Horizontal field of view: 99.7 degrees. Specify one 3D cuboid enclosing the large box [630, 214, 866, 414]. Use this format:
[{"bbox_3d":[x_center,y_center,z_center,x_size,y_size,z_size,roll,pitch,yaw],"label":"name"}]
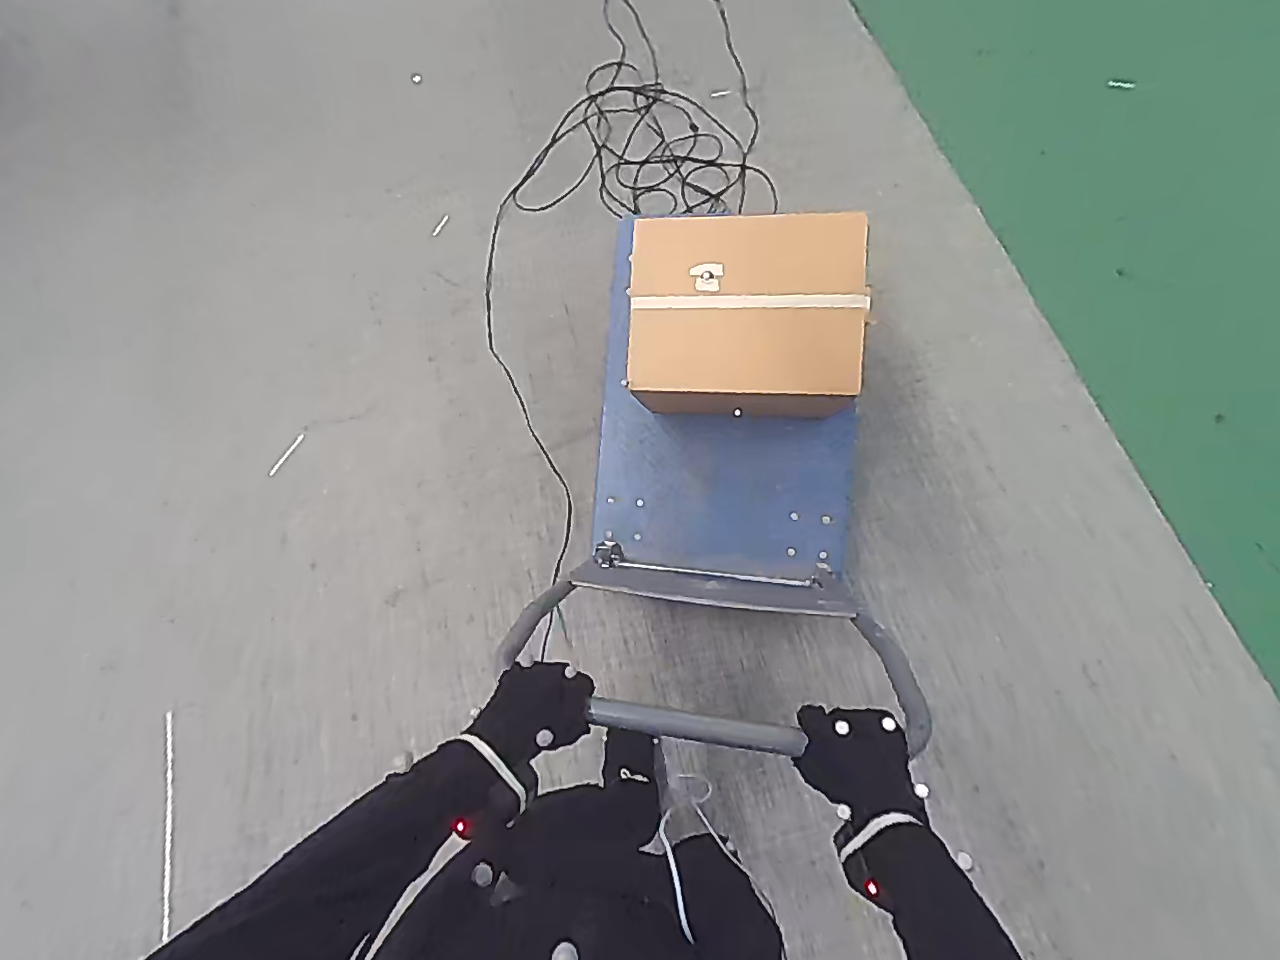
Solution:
[{"bbox_3d":[0.209,-0.301,1.088,0.408,0.320,0.320,3,90,10],"label":"large box"}]
